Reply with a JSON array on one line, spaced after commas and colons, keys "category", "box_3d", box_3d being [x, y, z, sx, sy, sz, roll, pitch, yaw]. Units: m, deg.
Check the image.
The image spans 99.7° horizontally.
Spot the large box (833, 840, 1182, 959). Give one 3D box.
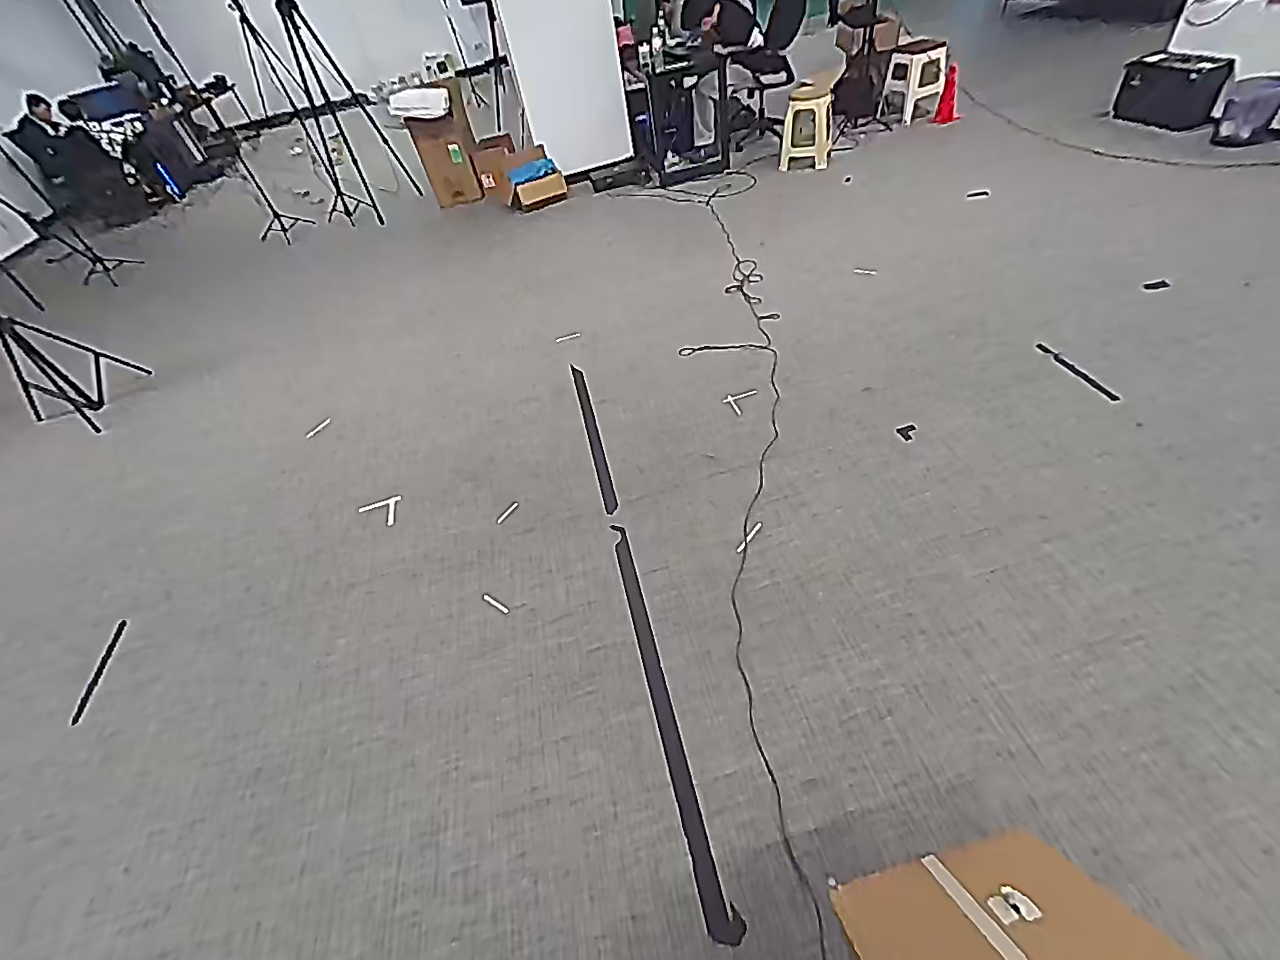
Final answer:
[{"category": "large box", "box_3d": [0.474, 0.700, 0.593, 0.320, 0.408, 0.320, -16, 82, -1]}]
